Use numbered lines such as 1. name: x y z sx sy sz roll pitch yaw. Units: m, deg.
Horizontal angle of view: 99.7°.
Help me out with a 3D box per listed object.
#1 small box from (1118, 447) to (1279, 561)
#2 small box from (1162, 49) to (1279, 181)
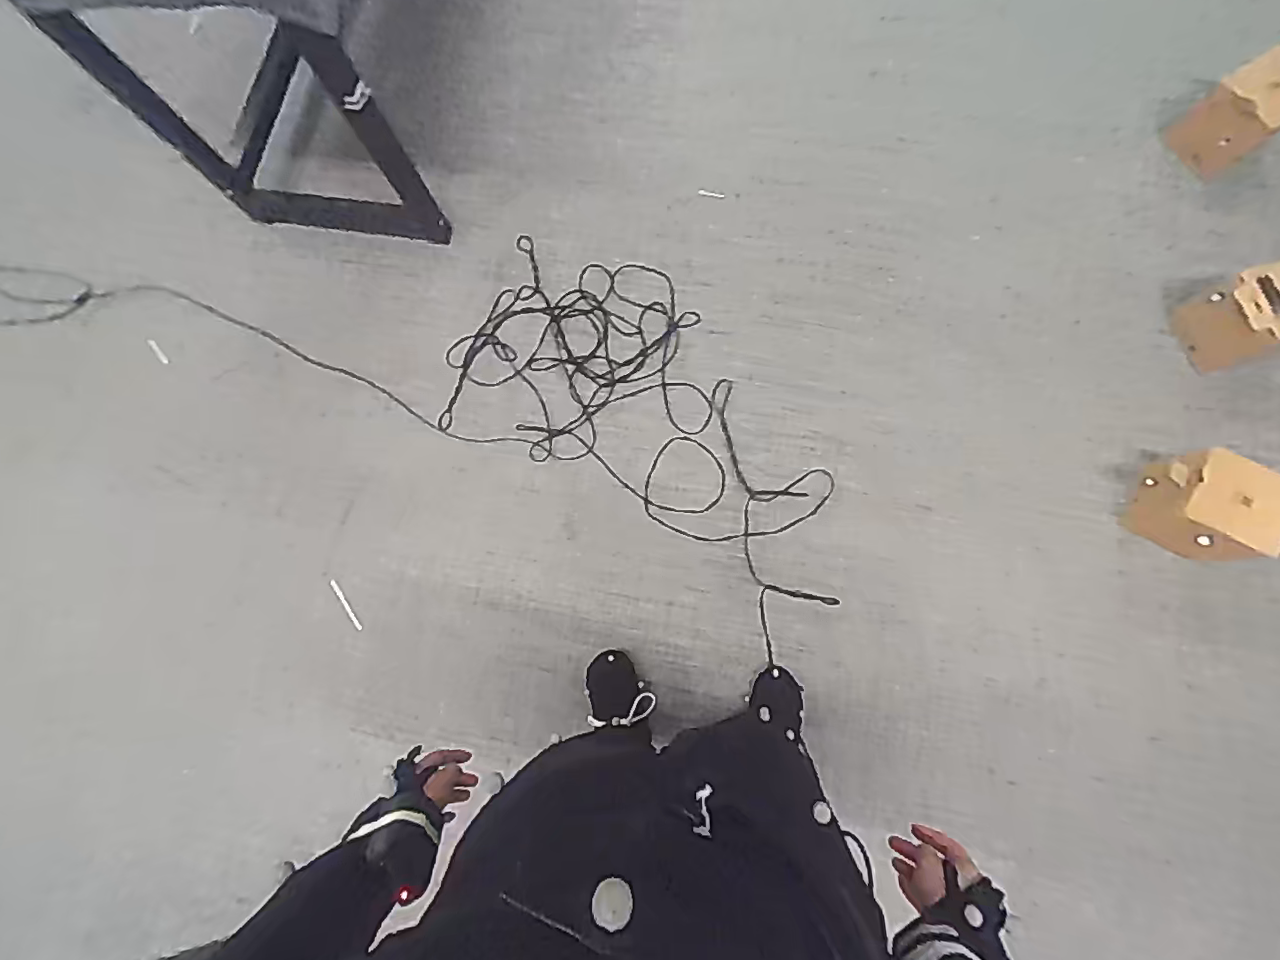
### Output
1. small box: 1.171 0.057 1.126 0.179 0.176 0.168 29 81 9
2. small box: 1.441 -0.875 1.314 0.179 0.176 0.168 -33 79 -5
